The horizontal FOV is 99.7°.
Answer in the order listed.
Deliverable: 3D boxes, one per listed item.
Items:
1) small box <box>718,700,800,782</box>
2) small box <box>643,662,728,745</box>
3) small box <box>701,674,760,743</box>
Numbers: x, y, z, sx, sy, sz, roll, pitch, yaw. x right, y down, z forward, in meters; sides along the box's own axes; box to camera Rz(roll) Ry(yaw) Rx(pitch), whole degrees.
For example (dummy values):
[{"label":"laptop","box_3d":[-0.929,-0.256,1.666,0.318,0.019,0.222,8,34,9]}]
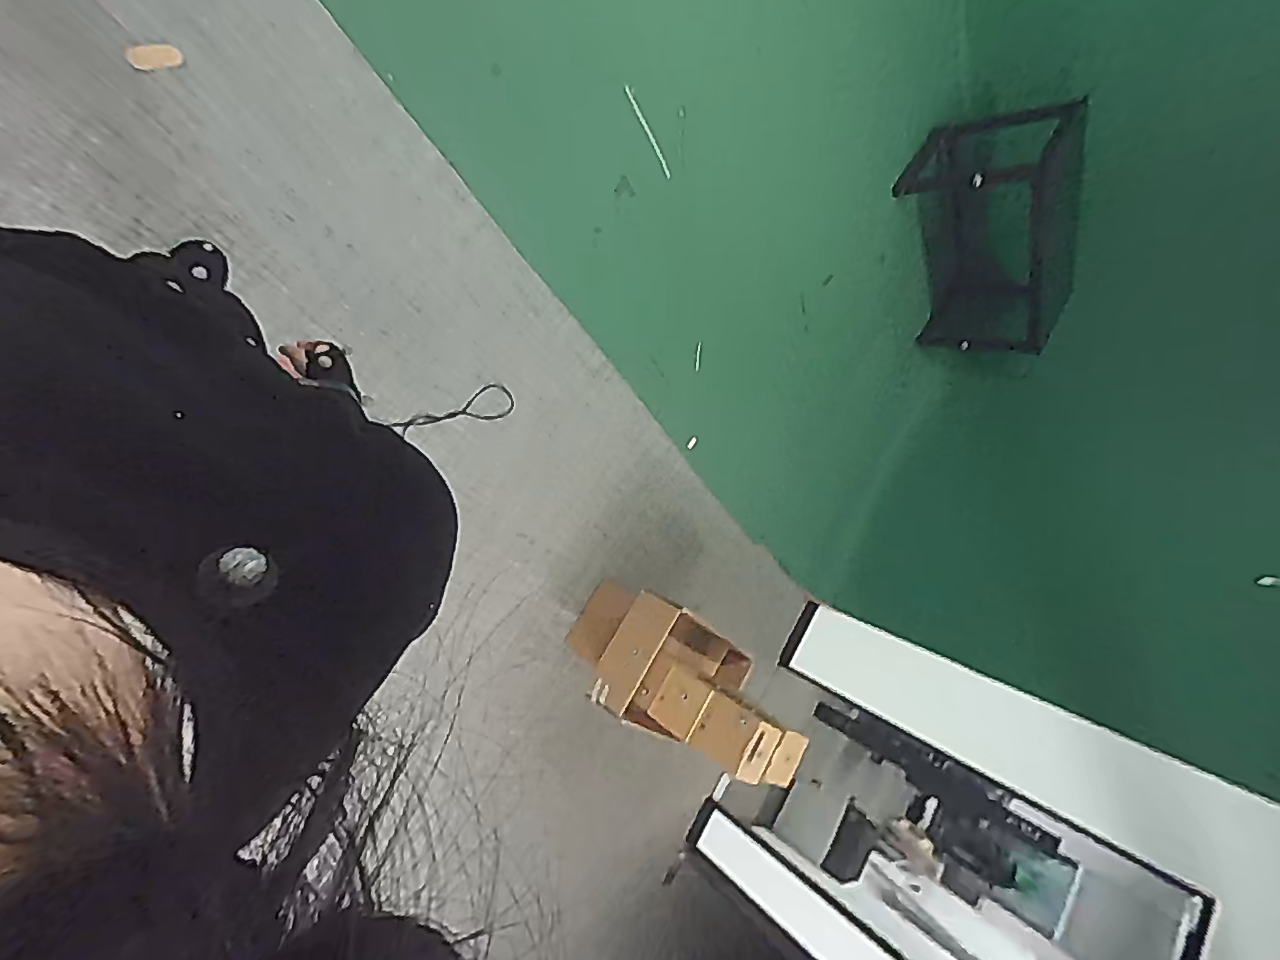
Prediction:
[{"label":"small box","box_3d":[0.379,0.832,1.737,0.179,0.176,0.168,40,76,-42]},{"label":"small box","box_3d":[0.140,0.693,1.687,0.179,0.176,0.168,42,74,-44]},{"label":"small box","box_3d":[0.276,0.790,1.856,0.179,0.176,0.168,37,78,-43]}]
